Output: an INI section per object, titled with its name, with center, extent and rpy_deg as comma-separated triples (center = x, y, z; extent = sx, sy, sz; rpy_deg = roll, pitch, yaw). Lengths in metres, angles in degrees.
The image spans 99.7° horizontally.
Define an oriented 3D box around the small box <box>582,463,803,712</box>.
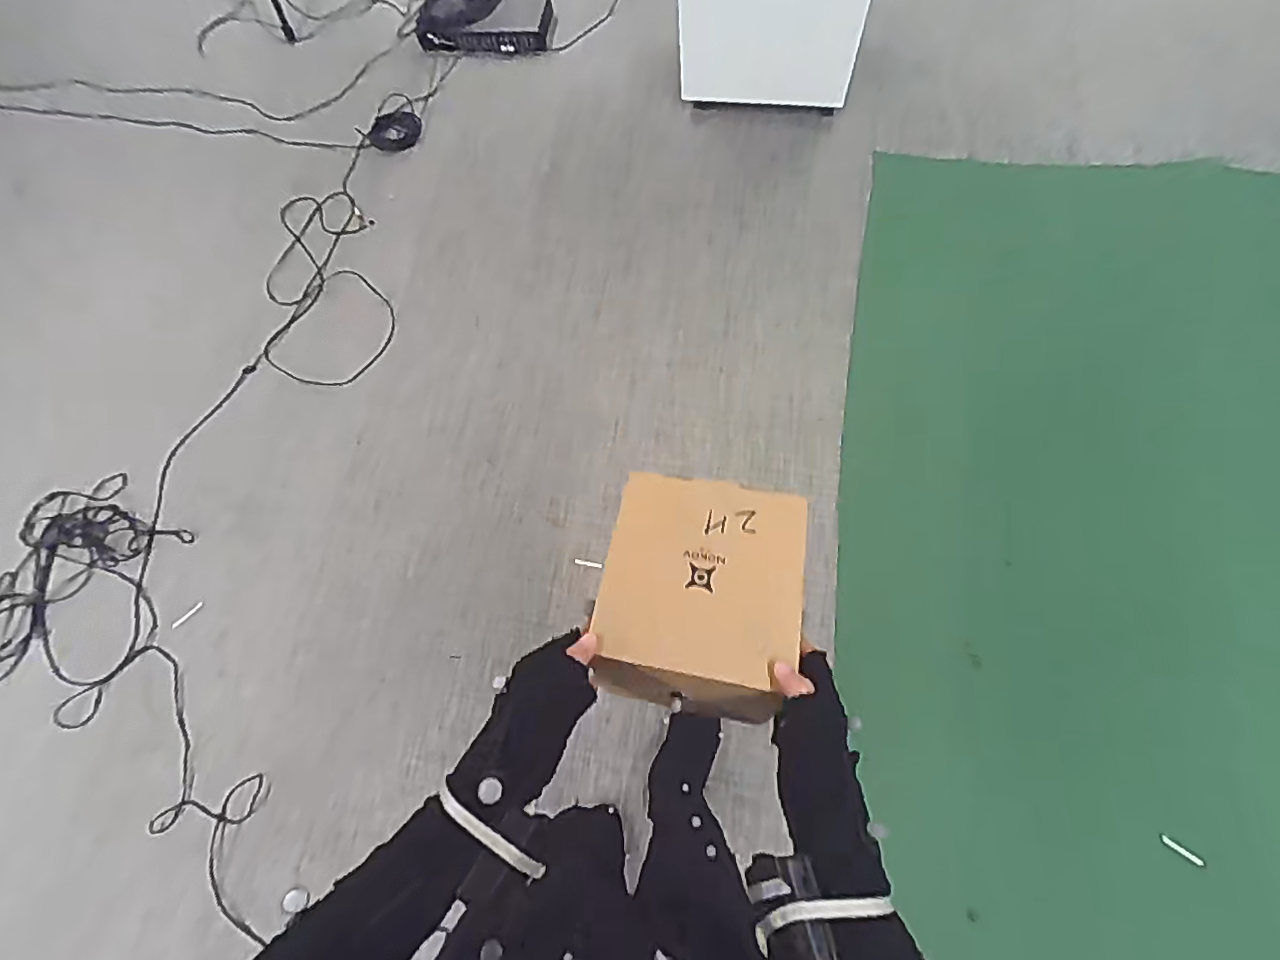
[small box]
center = 0.053, 0.111, 0.525
extent = 0.168, 0.176, 0.179
rpy_deg = 10, 59, 7
